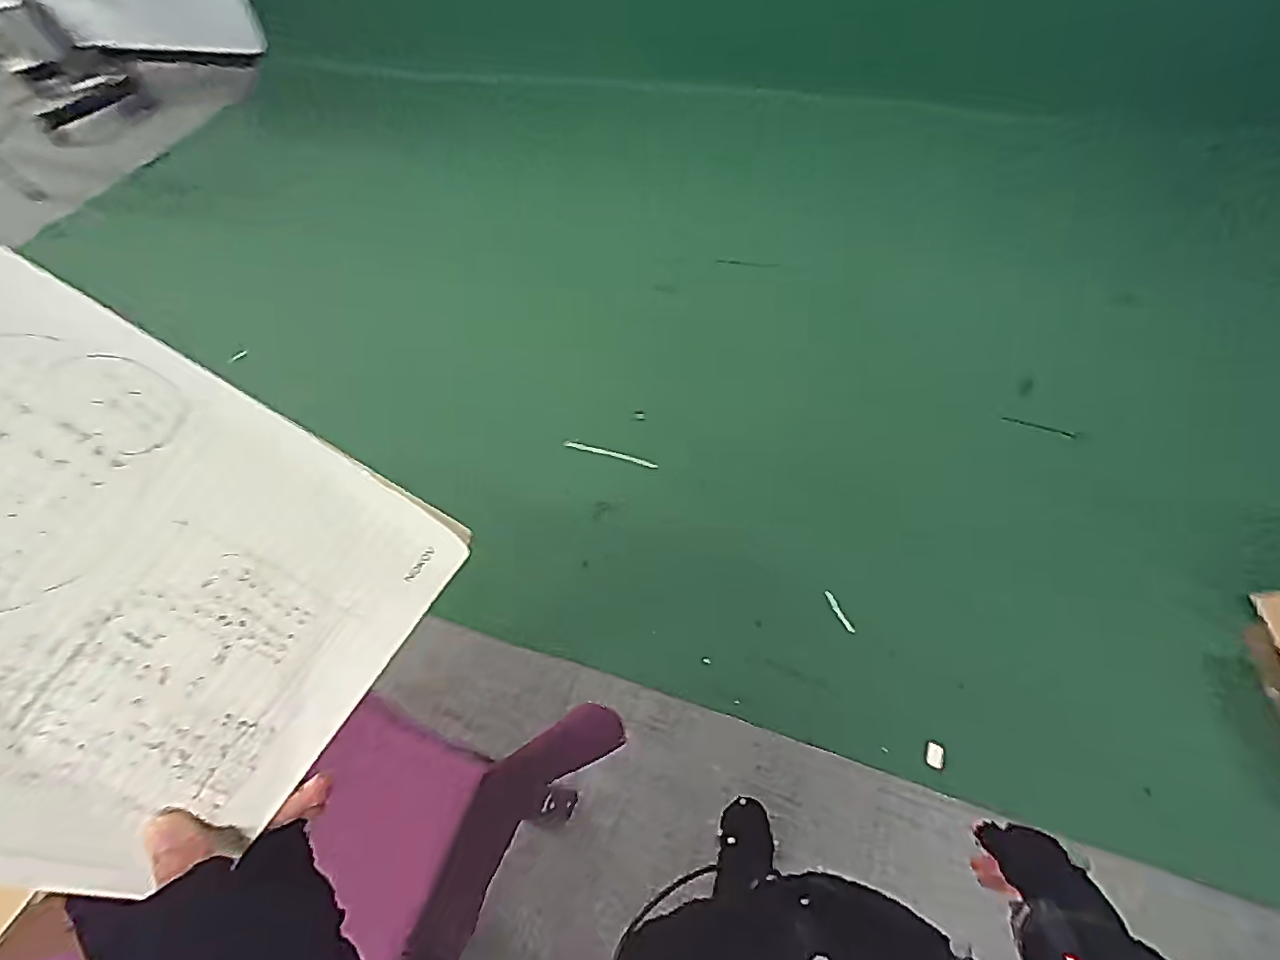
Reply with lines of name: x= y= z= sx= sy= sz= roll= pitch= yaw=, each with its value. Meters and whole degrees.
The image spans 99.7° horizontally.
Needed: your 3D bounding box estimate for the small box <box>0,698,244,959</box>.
small box: x=-0.575 y=0.355 z=0.562 sx=0.179 sy=0.176 sz=0.168 roll=22 pitch=62 yaw=17
